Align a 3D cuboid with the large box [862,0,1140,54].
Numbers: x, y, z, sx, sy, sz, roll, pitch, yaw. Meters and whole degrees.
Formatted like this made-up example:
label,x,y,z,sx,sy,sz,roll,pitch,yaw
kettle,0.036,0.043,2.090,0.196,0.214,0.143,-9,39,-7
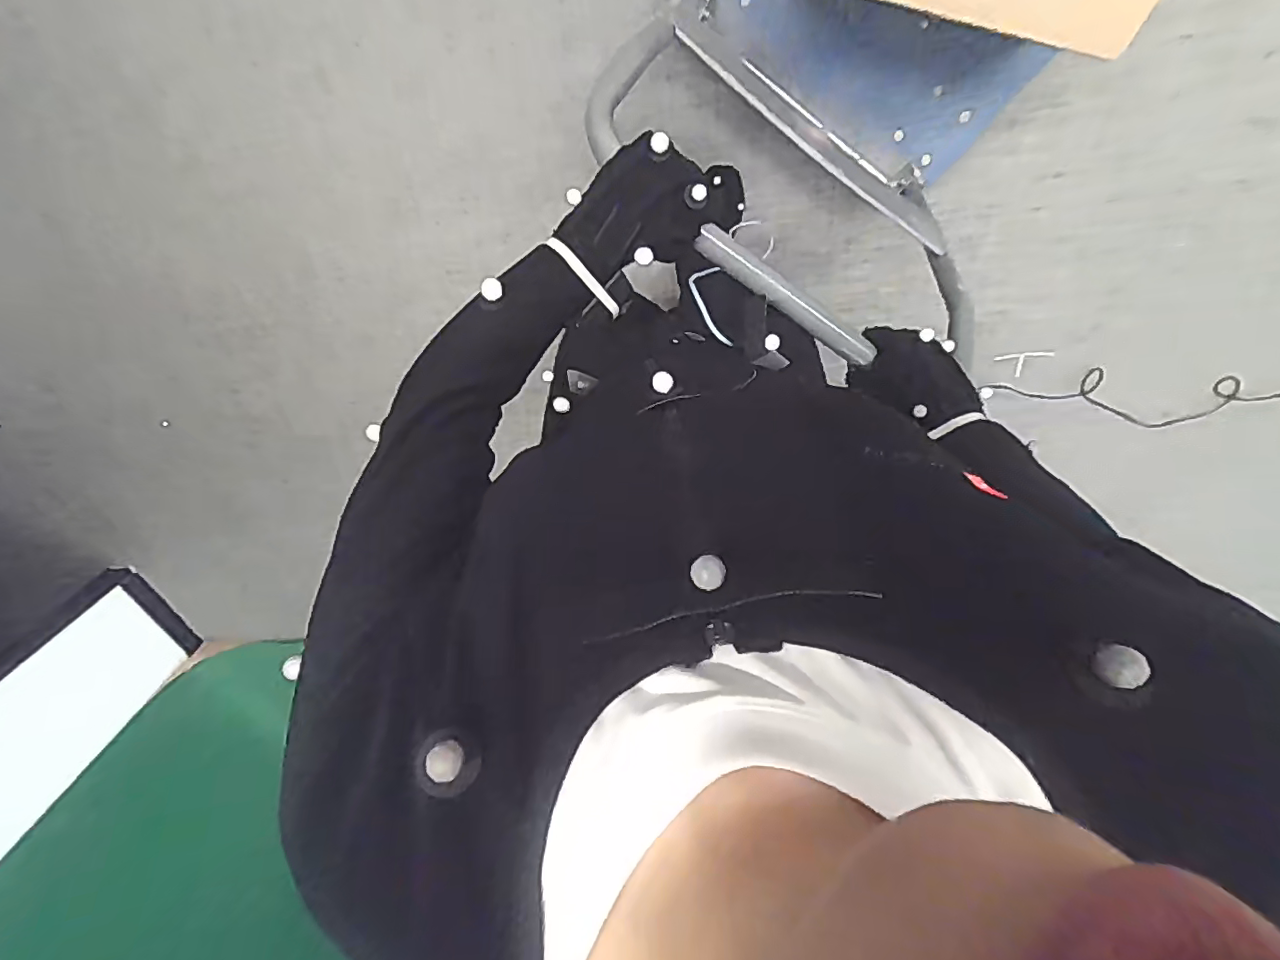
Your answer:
label,x,y,z,sx,sy,sz,roll,pitch,yaw
large box,0.432,-0.771,0.661,0.408,0.320,0.320,16,133,1
